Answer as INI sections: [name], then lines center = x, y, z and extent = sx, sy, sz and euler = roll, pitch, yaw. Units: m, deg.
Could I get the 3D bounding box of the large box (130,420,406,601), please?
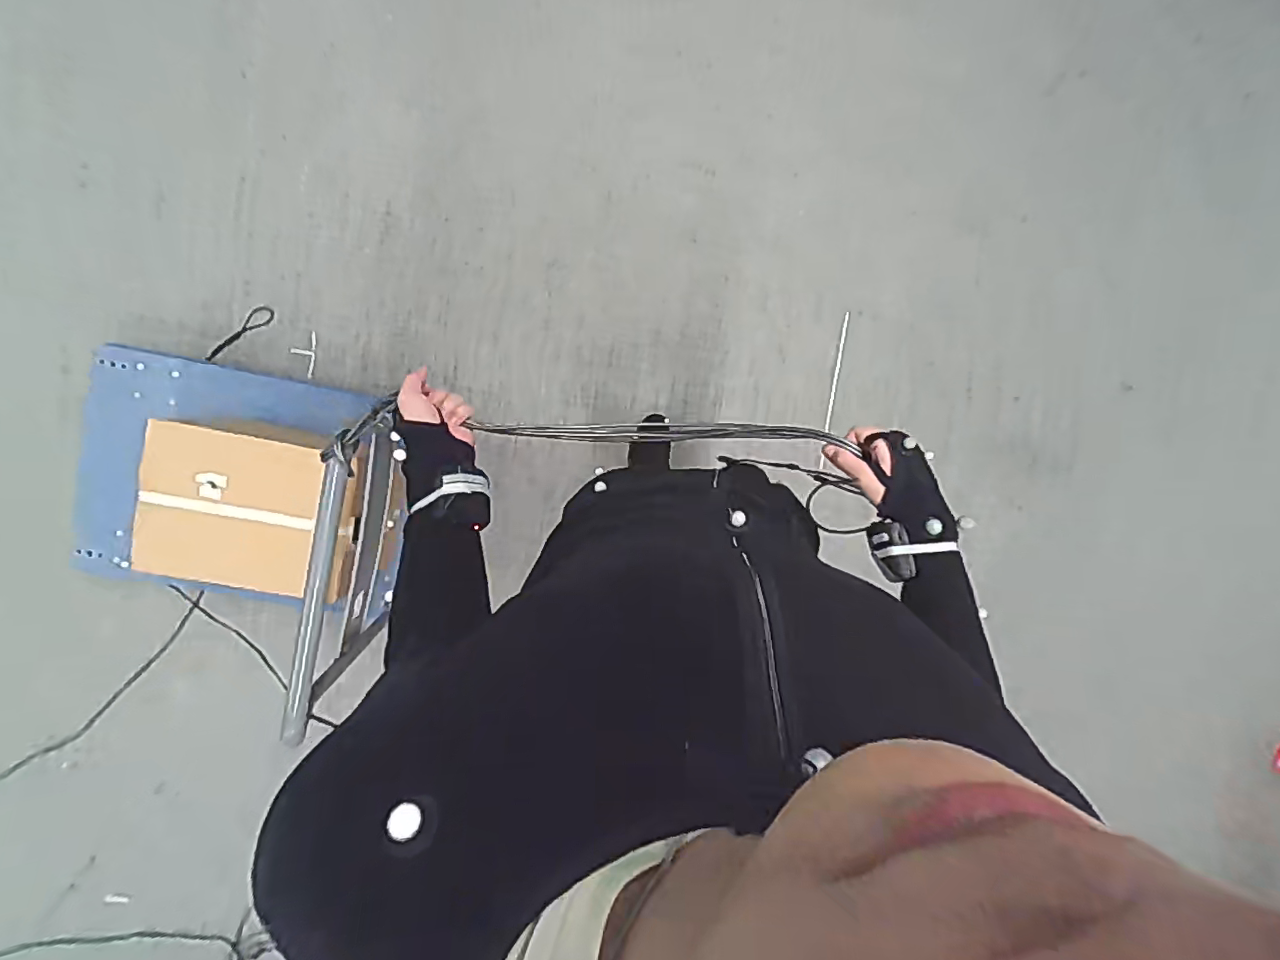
[large box]
center = -0.802, 0.051, 1.227
extent = 0.408, 0.320, 0.320
euler = 11, 94, -5
